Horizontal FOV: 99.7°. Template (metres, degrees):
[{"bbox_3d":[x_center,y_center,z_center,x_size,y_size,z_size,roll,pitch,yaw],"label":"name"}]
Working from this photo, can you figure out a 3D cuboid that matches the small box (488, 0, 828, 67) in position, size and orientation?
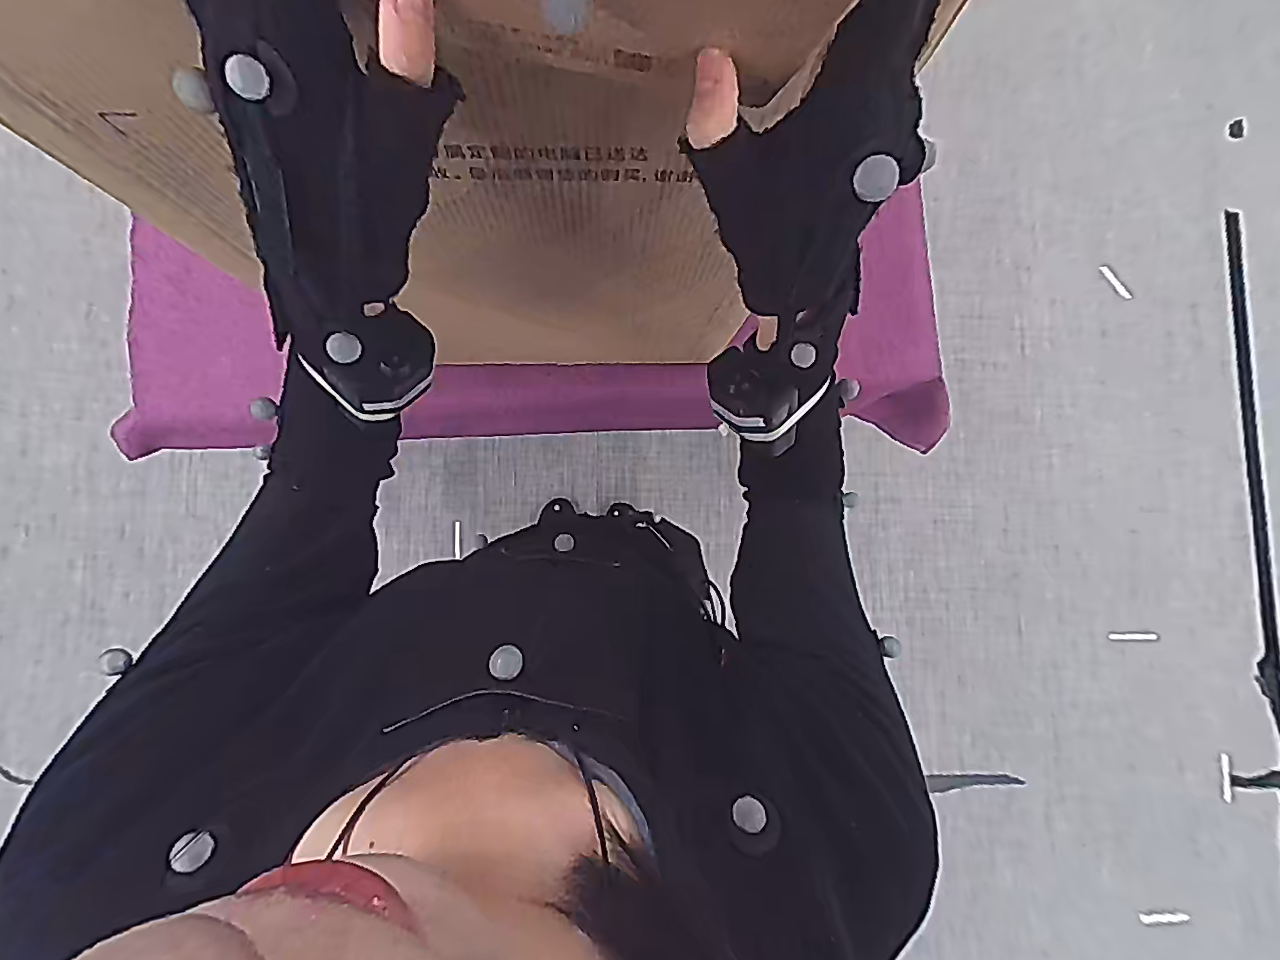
[{"bbox_3d":[-0.002,-0.232,0.116,0.168,0.176,0.179,7,107,-7],"label":"small box"}]
